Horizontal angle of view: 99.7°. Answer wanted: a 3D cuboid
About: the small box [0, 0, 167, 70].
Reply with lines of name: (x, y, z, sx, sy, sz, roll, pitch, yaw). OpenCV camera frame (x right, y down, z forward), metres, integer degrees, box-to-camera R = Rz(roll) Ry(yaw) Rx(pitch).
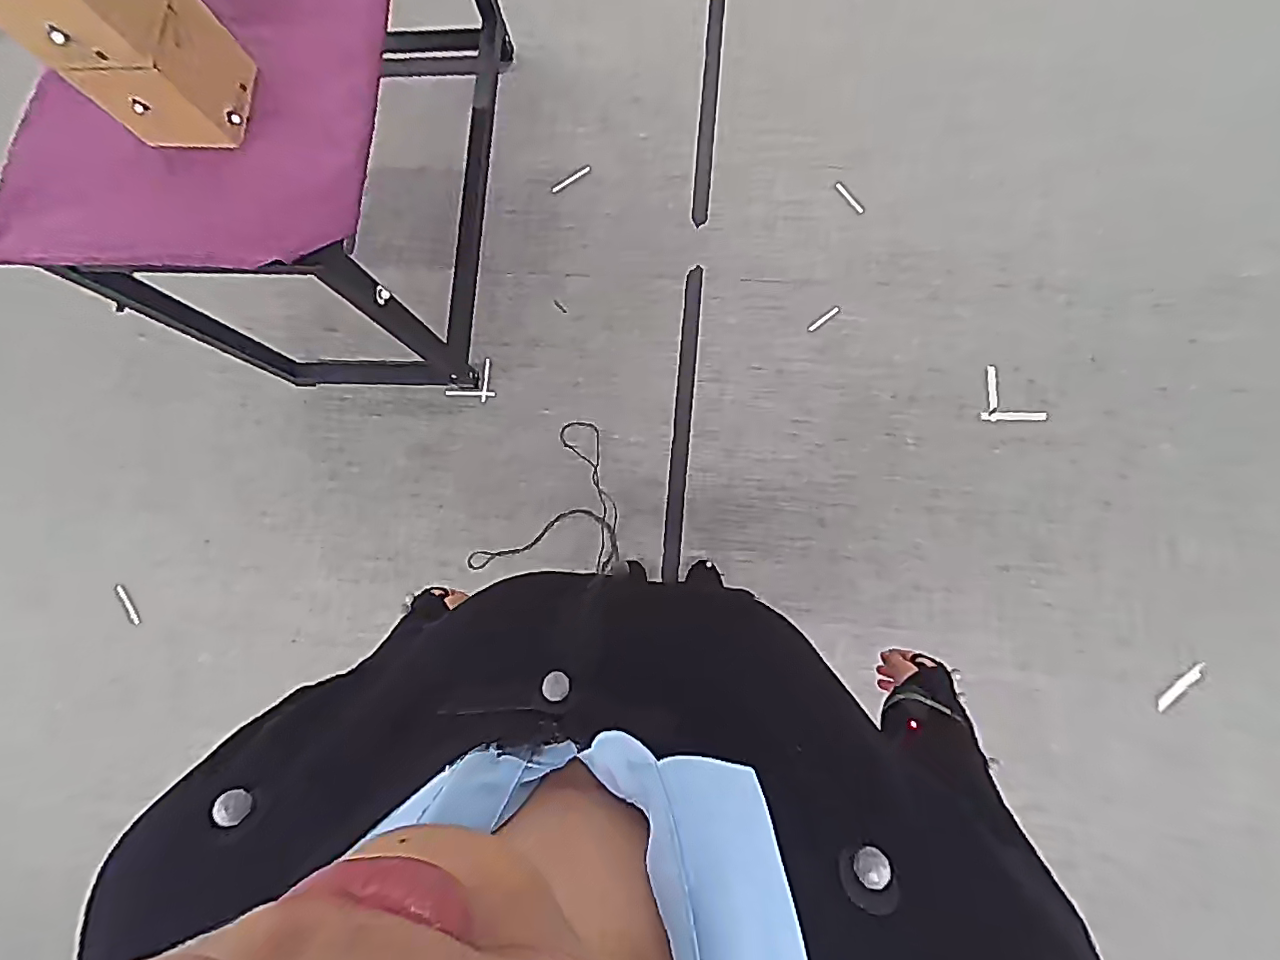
small box: (-0.789, -0.702, 0.726, 0.168, 0.176, 0.179, 3, 81, 4)

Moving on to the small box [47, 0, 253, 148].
small box: (-0.787, -0.680, 0.890, 0.179, 0.176, 0.168, 3, 81, 5)
